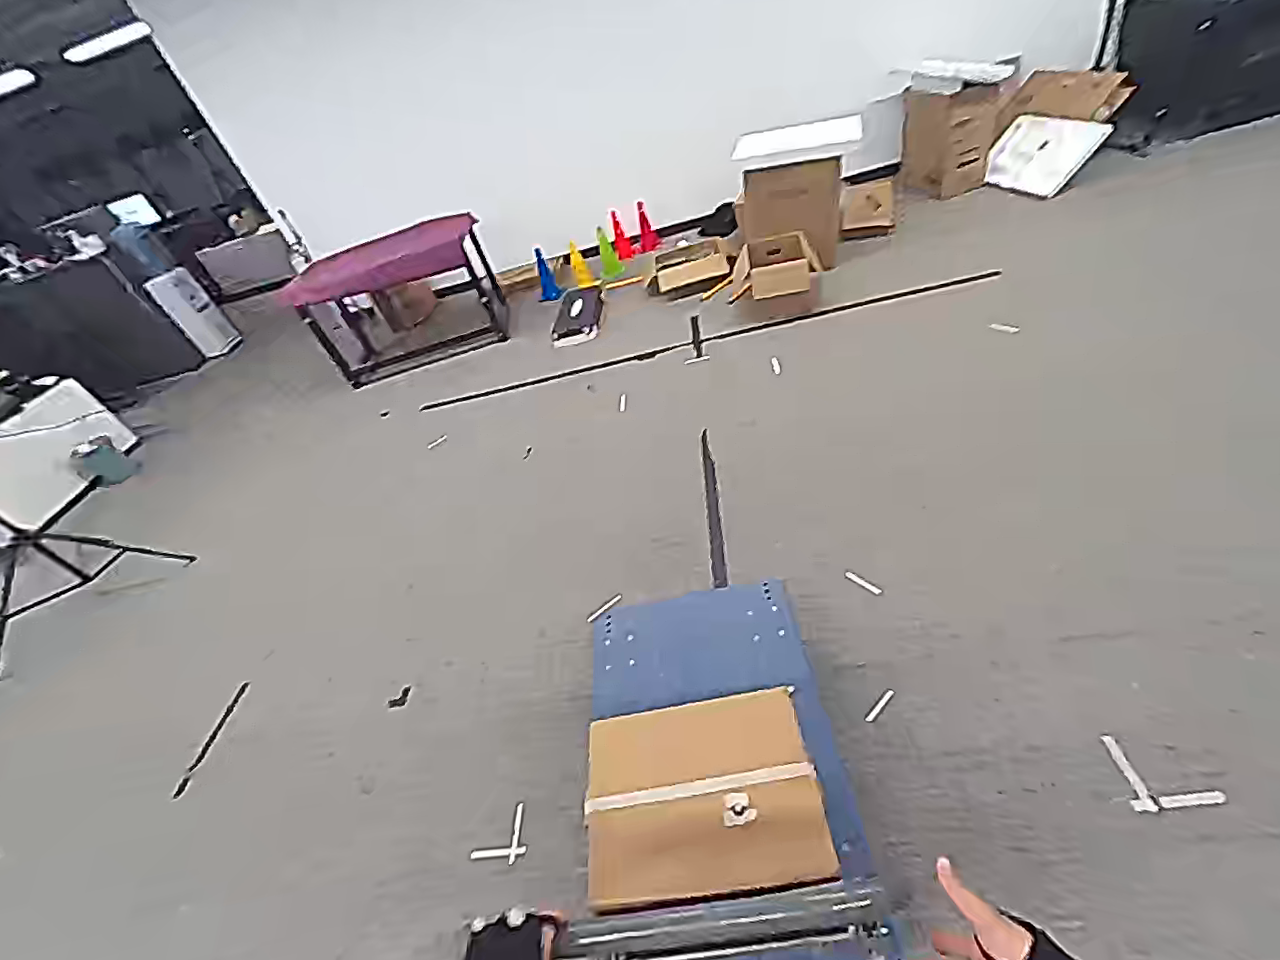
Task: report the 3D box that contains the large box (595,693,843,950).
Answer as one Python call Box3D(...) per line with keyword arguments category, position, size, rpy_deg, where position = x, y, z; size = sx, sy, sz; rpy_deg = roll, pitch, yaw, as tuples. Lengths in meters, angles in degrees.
Box3D(category="large box", position=(0.144, 0.667, 1.055), size=(0.408, 0.320, 0.320), rpy_deg=(-13, 41, 6))
